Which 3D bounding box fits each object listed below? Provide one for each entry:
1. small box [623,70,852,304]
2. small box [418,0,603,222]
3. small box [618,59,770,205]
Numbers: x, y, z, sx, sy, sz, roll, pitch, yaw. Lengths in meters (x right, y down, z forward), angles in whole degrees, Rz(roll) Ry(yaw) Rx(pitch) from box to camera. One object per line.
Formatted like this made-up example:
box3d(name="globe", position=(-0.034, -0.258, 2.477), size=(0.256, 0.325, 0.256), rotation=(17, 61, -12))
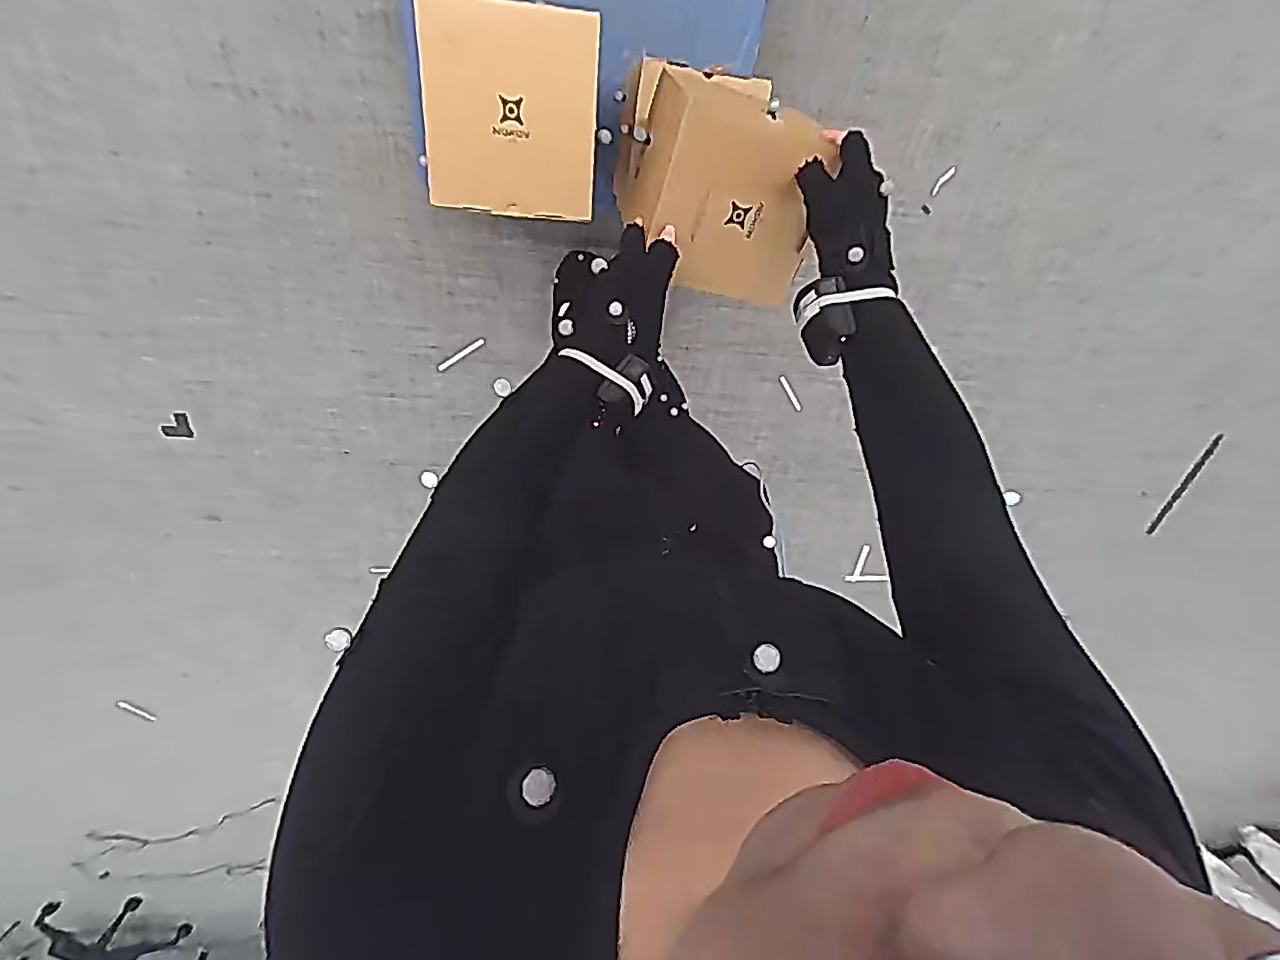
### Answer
box3d(name="small box", position=(0.091, -0.325, 0.602), size=(0.179, 0.176, 0.168), rotation=(7, 132, -17))
box3d(name="small box", position=(-0.131, -0.395, 0.592), size=(0.168, 0.176, 0.179), rotation=(2, 122, -7))
box3d(name="small box", position=(0.062, -0.464, 0.764), size=(0.168, 0.176, 0.179), rotation=(4, 122, -9))
